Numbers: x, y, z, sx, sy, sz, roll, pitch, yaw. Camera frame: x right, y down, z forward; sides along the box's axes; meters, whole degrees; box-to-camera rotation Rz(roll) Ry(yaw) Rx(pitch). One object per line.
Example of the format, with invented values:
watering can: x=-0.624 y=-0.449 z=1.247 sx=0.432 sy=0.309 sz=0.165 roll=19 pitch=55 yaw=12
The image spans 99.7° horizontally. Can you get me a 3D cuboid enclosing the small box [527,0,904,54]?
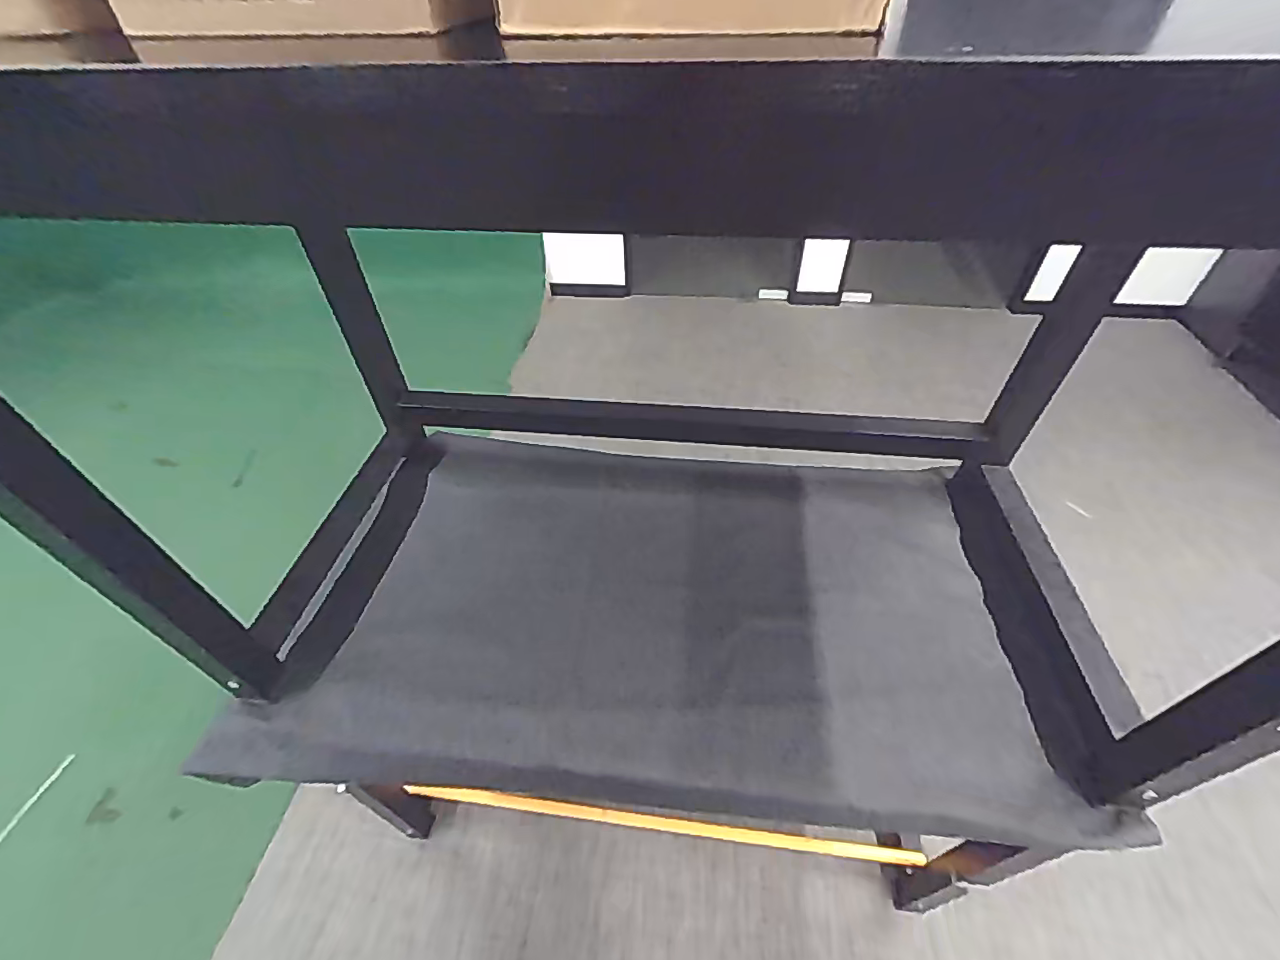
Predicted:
small box: x=0.038 y=-0.304 z=0.231 sx=0.168 sy=0.176 sz=0.179 roll=5 pitch=46 yaw=7
